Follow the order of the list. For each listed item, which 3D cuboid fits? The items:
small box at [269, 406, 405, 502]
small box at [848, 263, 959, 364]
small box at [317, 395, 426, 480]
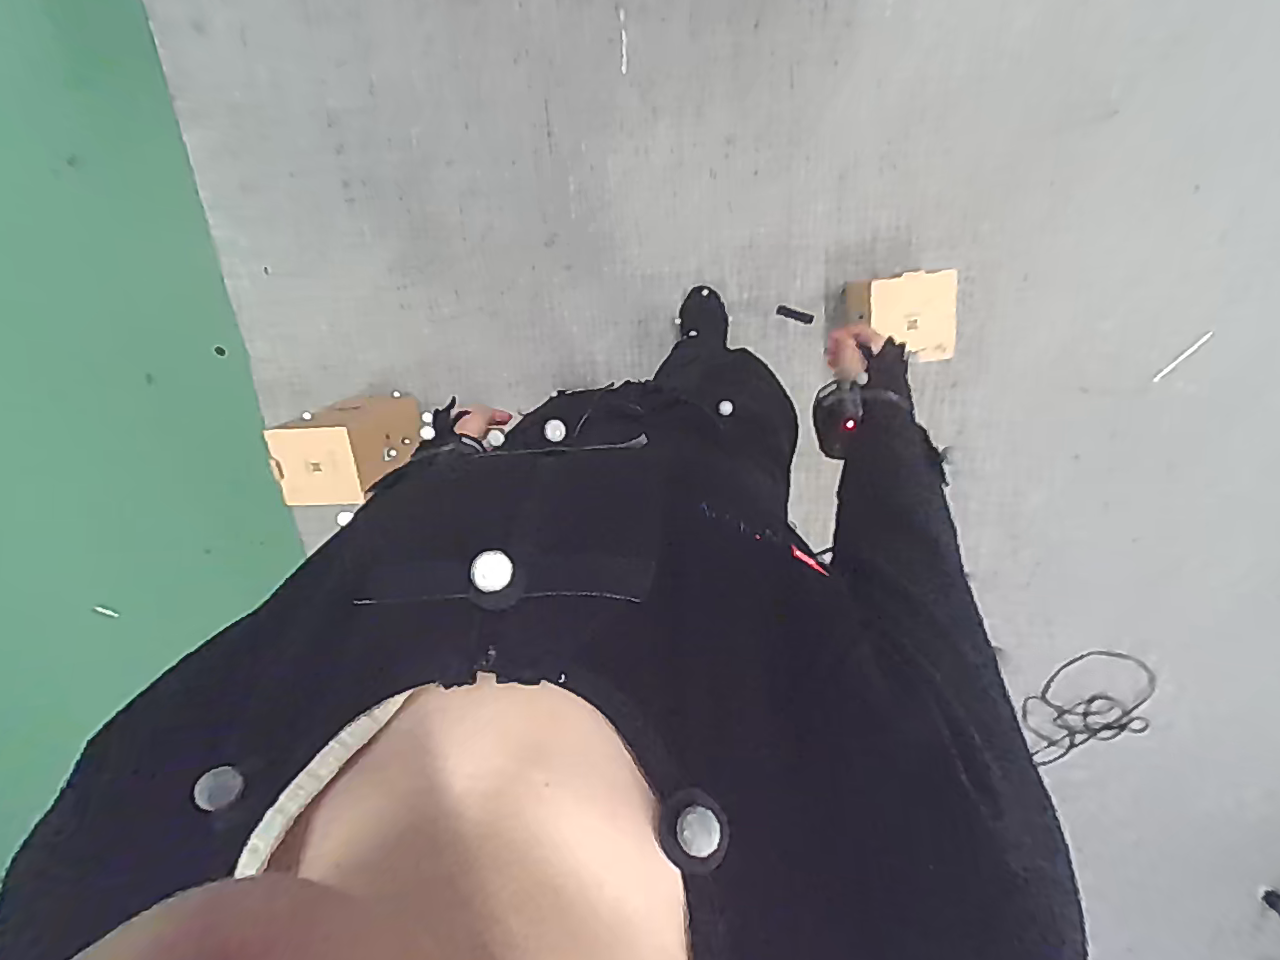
[{"bbox_3d":[-0.642,-0.060,1.166,0.179,0.176,0.168,-3,111,4],"label":"small box"},{"bbox_3d":[0.551,-0.352,1.150,0.168,0.176,0.179,-7,108,6],"label":"small box"},{"bbox_3d":[-0.645,-0.110,1.321,0.168,0.176,0.179,0,110,4],"label":"small box"}]
